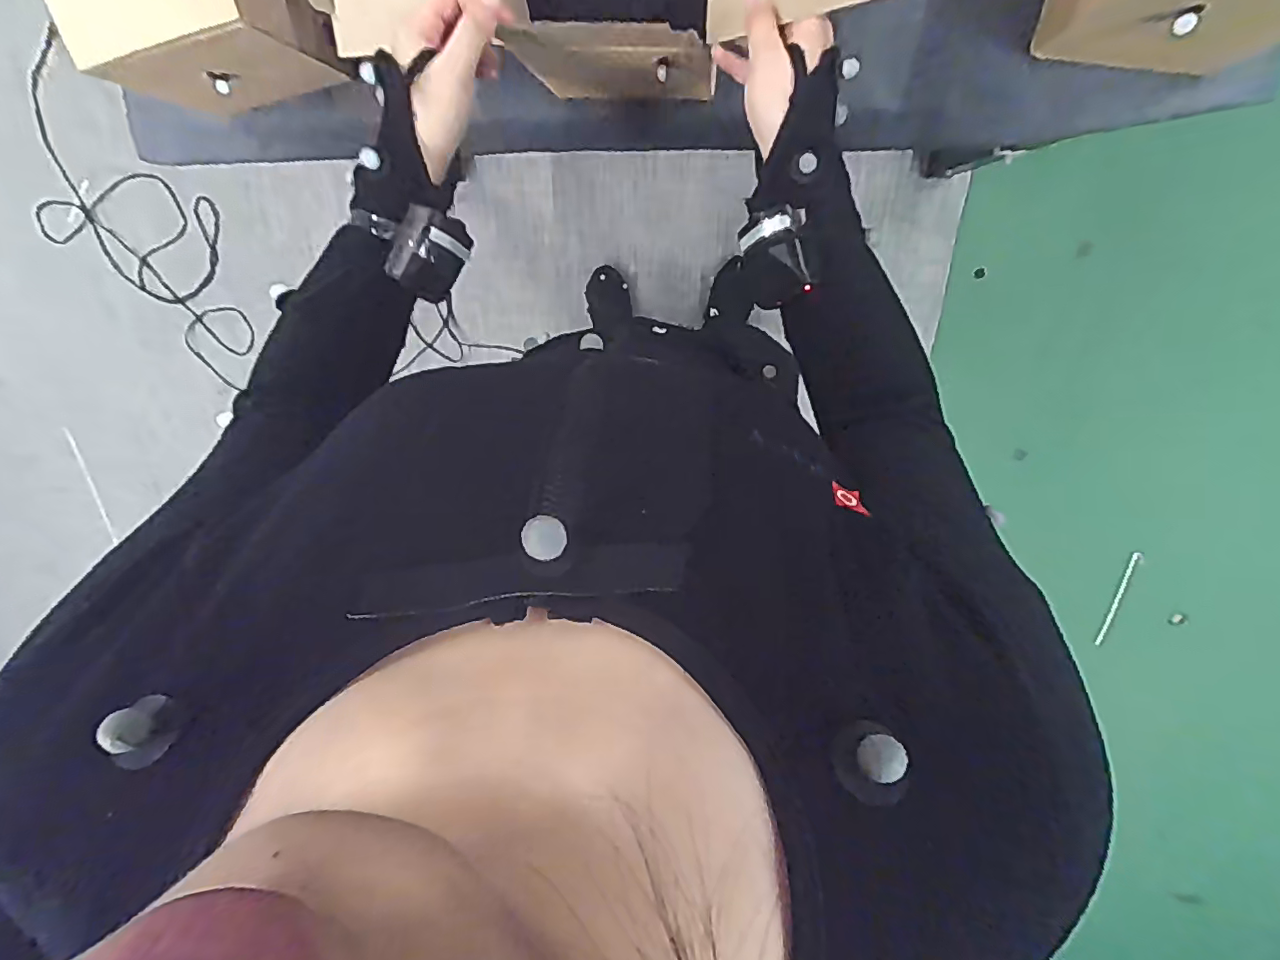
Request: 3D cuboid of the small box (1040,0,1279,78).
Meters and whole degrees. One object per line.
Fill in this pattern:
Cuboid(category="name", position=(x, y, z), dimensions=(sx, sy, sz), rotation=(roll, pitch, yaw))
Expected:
Cuboid(category="small box", position=(0.469, -0.448, 0.425), dimensions=(0.179, 0.176, 0.168), rotation=(9, 109, 4))

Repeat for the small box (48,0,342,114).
Cuboid(category="small box", position=(-0.423, -0.479, 0.517), dimensions=(0.179, 0.176, 0.168), rotation=(-7, 112, 10))

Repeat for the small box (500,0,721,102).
Cuboid(category="small box", position=(-0.016, -0.455, 0.483), dimensions=(0.179, 0.176, 0.168), rotation=(5, 114, 6))
